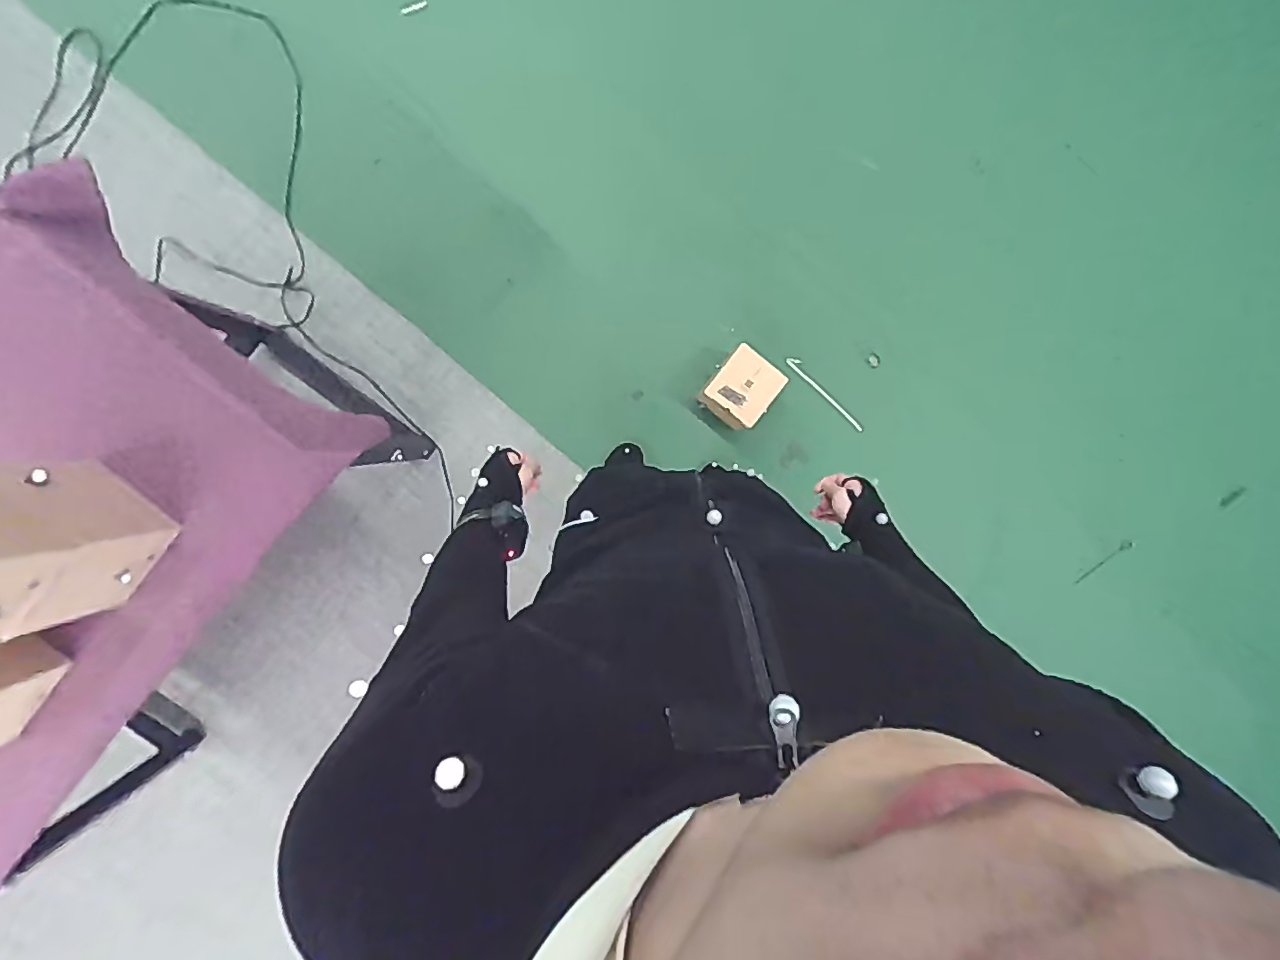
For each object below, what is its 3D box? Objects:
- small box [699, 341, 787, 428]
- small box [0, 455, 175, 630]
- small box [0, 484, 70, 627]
[{"bbox_3d":[0.283,-0.263,1.544,0.168,0.176,0.179,38,91,-4],"label":"small box"},{"bbox_3d":[-0.854,0.079,0.784,0.179,0.176,0.168,40,92,-4],"label":"small box"},{"bbox_3d":[-0.852,0.089,0.622,0.179,0.176,0.168,40,91,-4],"label":"small box"}]
